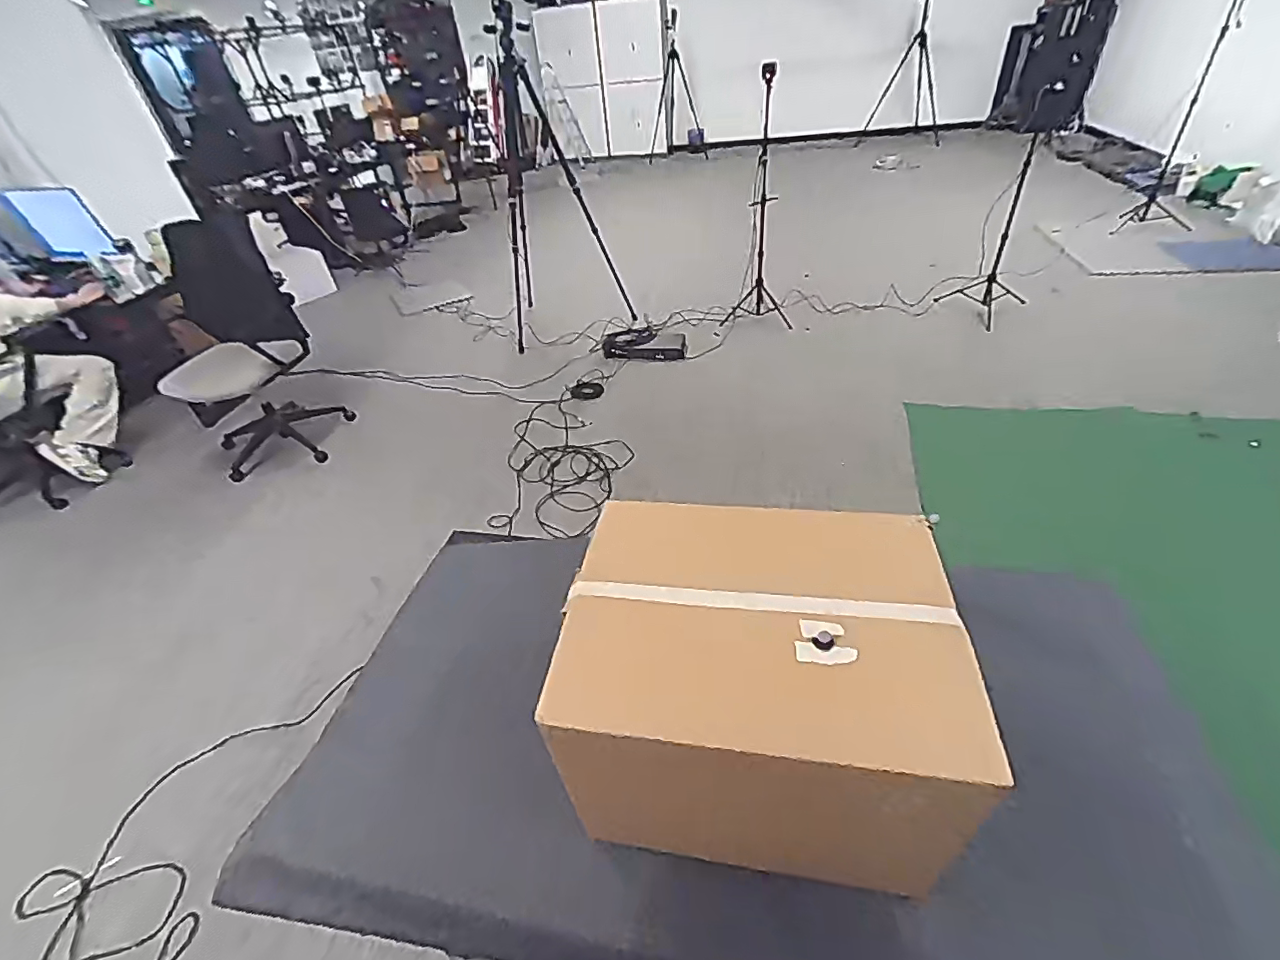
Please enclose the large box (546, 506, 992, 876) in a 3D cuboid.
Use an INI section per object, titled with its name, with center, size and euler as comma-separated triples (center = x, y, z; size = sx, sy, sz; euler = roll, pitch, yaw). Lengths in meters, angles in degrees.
[large box]
center = 0.136, 0.253, 0.691
size = 0.408, 0.320, 0.320
euler = 2, 41, 11
